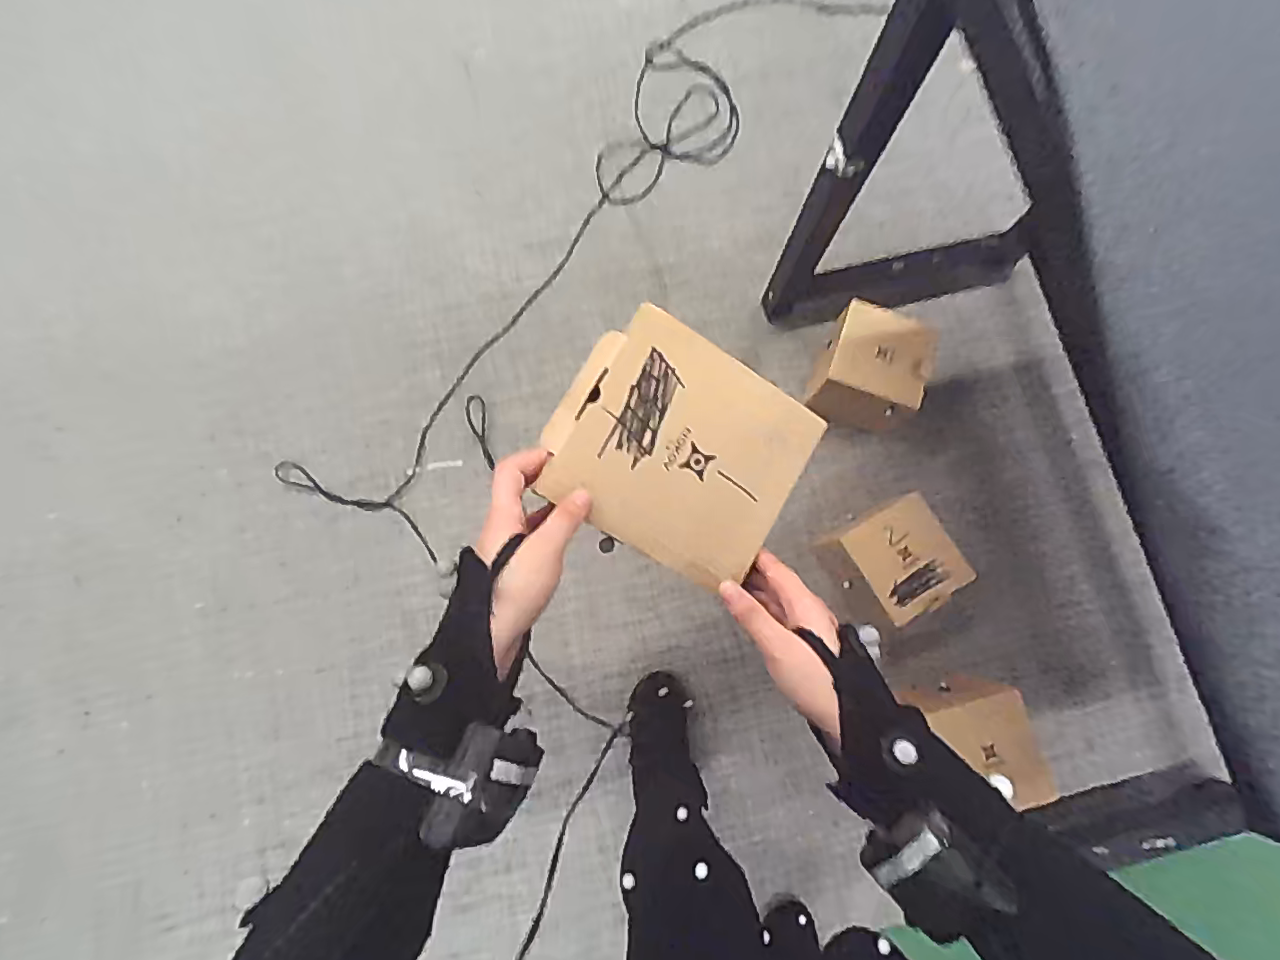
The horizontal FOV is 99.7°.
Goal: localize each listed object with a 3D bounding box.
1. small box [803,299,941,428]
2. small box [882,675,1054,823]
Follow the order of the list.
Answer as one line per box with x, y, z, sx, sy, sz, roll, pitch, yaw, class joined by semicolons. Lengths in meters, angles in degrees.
0.443;-0.218;1.061;0.179;0.176;0.168;20;80;3;small box
0.549;0.448;0.934;0.168;0.176;0.179;-14;80;-2;small box
